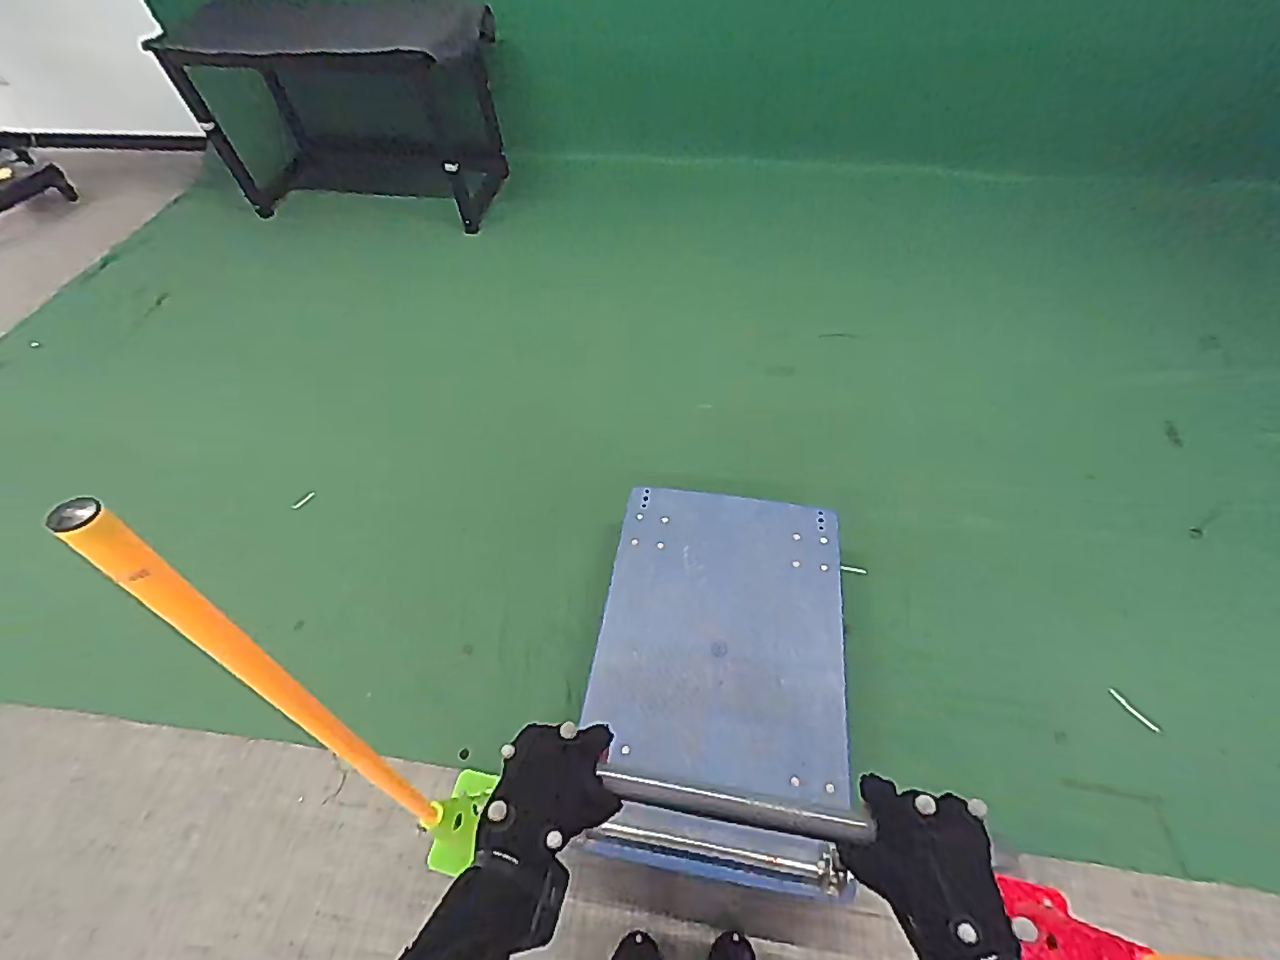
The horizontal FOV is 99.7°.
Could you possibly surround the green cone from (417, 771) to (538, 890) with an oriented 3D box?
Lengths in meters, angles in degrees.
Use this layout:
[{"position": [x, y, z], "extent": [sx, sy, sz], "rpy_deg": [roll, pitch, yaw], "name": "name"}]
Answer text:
[{"position": [-0.359, 0.689, 1.092], "extent": [0.202, 0.368, 0.200], "rpy_deg": [9, 54, 10], "name": "green cone"}]
